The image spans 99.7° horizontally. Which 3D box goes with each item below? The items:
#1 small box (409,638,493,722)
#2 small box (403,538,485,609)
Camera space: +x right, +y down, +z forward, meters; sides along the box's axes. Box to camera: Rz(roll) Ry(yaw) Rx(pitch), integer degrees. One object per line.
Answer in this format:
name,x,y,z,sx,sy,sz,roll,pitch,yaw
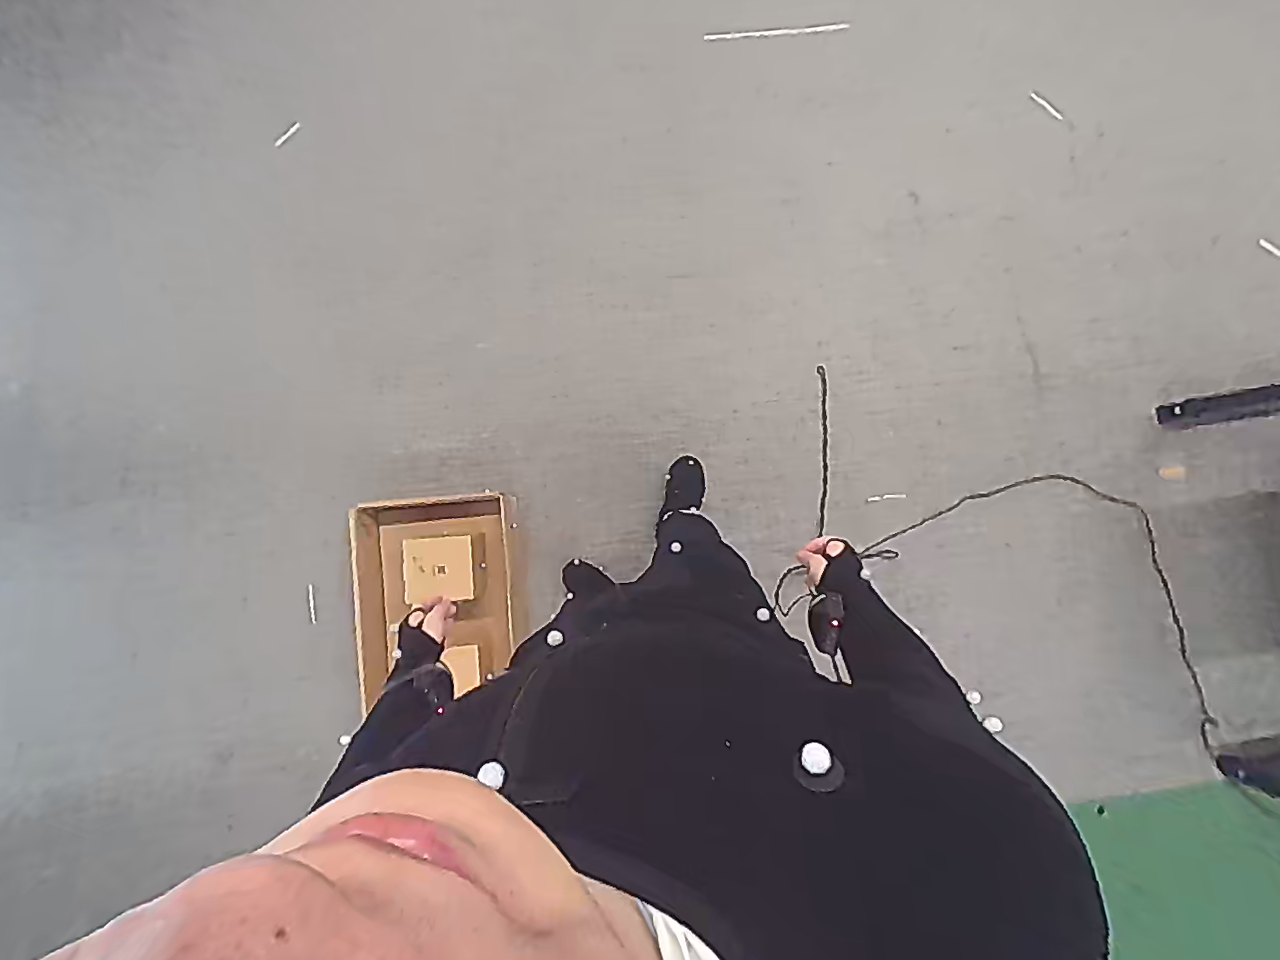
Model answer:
small box,-0.498,0.527,1.446,0.179,0.176,0.168,-5,87,-2
small box,-0.522,0.246,1.460,0.179,0.176,0.168,-3,87,-3
